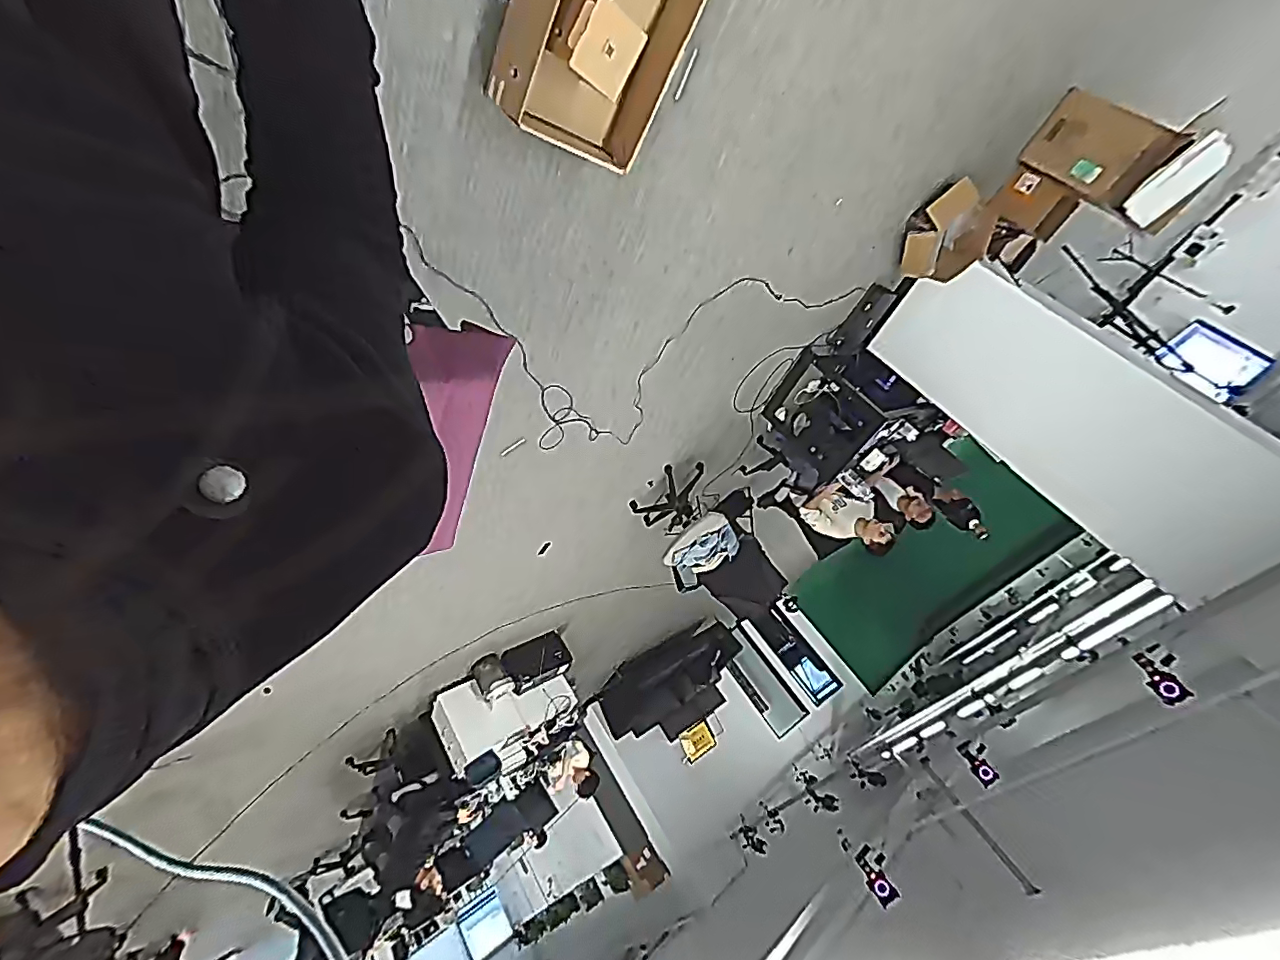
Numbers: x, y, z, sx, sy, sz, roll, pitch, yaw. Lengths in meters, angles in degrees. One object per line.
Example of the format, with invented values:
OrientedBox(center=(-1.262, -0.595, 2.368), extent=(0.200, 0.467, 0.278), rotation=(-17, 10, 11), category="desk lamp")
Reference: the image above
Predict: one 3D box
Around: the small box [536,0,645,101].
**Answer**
OrientedBox(center=(-0.128, -1.106, 1.352), extent=(0.179, 0.176, 0.168), rotation=(0, 135, -52), category="small box")
